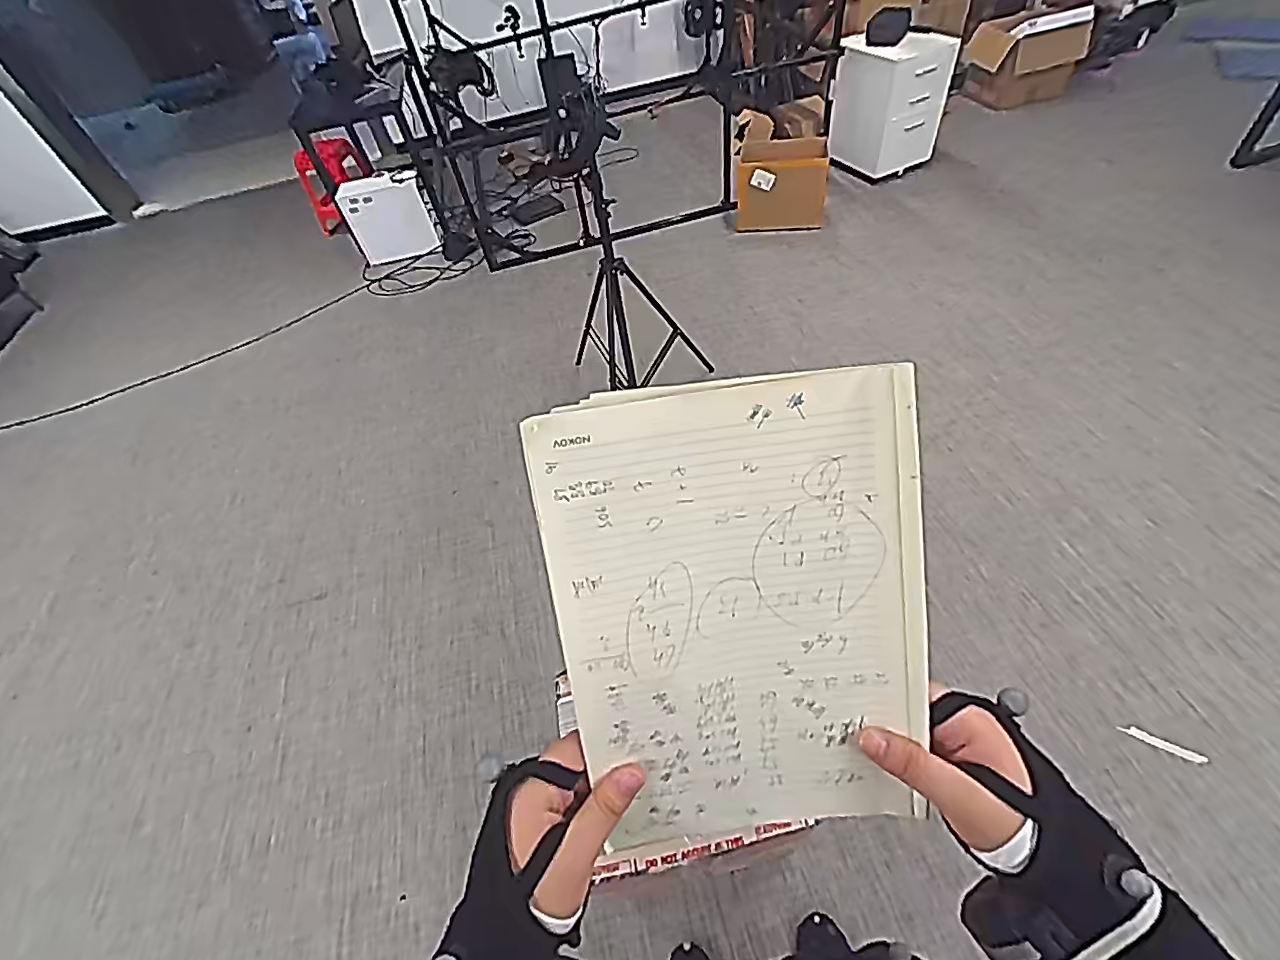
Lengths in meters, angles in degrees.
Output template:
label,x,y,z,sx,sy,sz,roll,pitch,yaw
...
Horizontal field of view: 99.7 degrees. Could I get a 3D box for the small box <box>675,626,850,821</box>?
label,x,y,z,sx,sy,sz,roll,pitch,yaw
small box,0.145,0.322,0.712,0.168,0.176,0.179,-13,52,-4

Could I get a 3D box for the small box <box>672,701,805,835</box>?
label,x,y,z,sx,sy,sz,roll,pitch,yaw
small box,0.157,0.426,0.839,0.179,0.176,0.168,-16,51,-6
